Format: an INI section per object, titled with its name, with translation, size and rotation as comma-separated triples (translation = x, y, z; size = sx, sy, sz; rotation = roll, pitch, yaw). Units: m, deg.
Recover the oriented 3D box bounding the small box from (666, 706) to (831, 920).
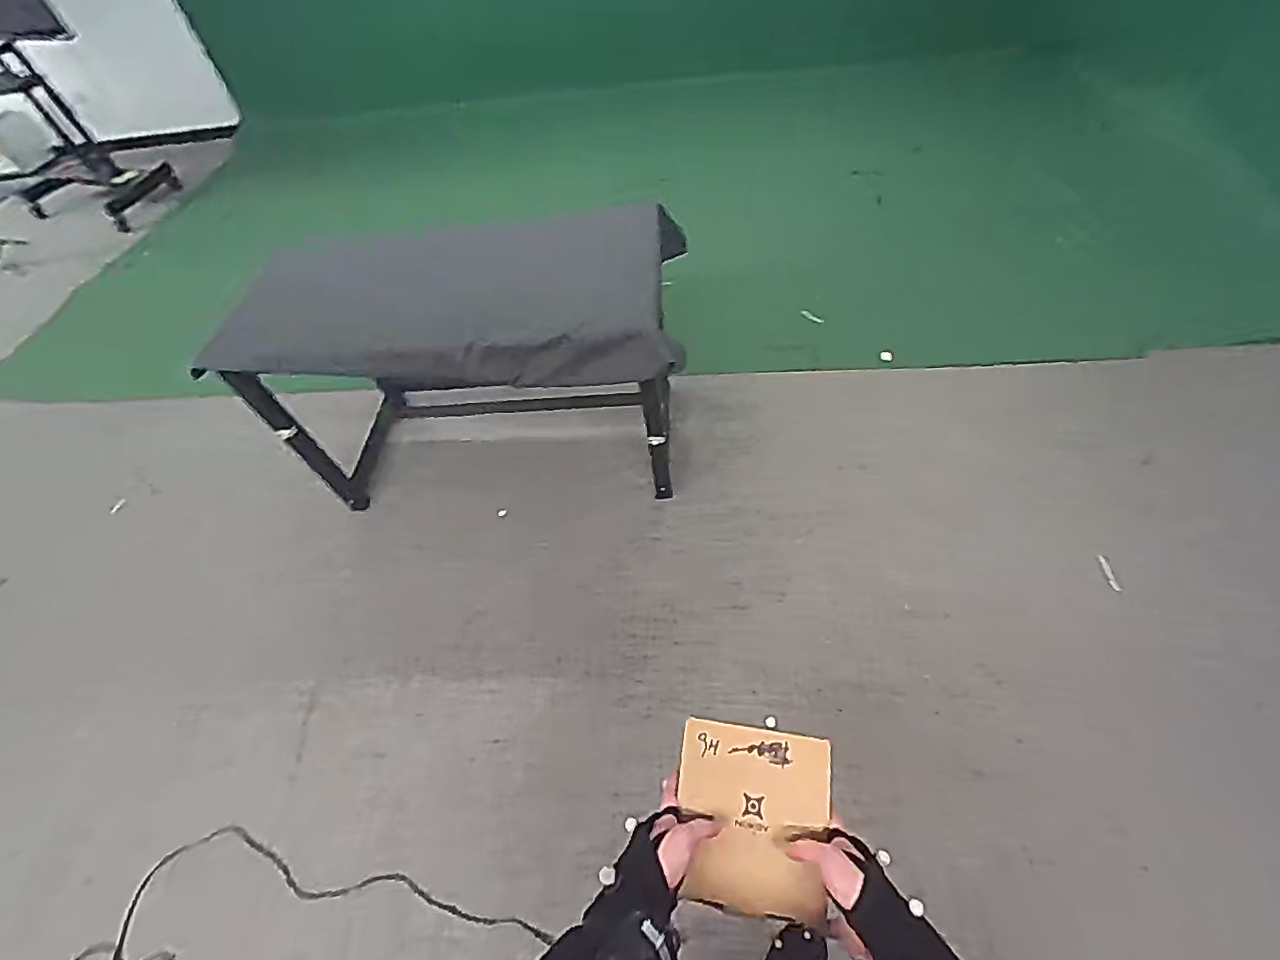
[small box]
translation = 0.124, 0.380, 0.653
size = 0.168, 0.176, 0.179
rotation = 6, 69, 5
